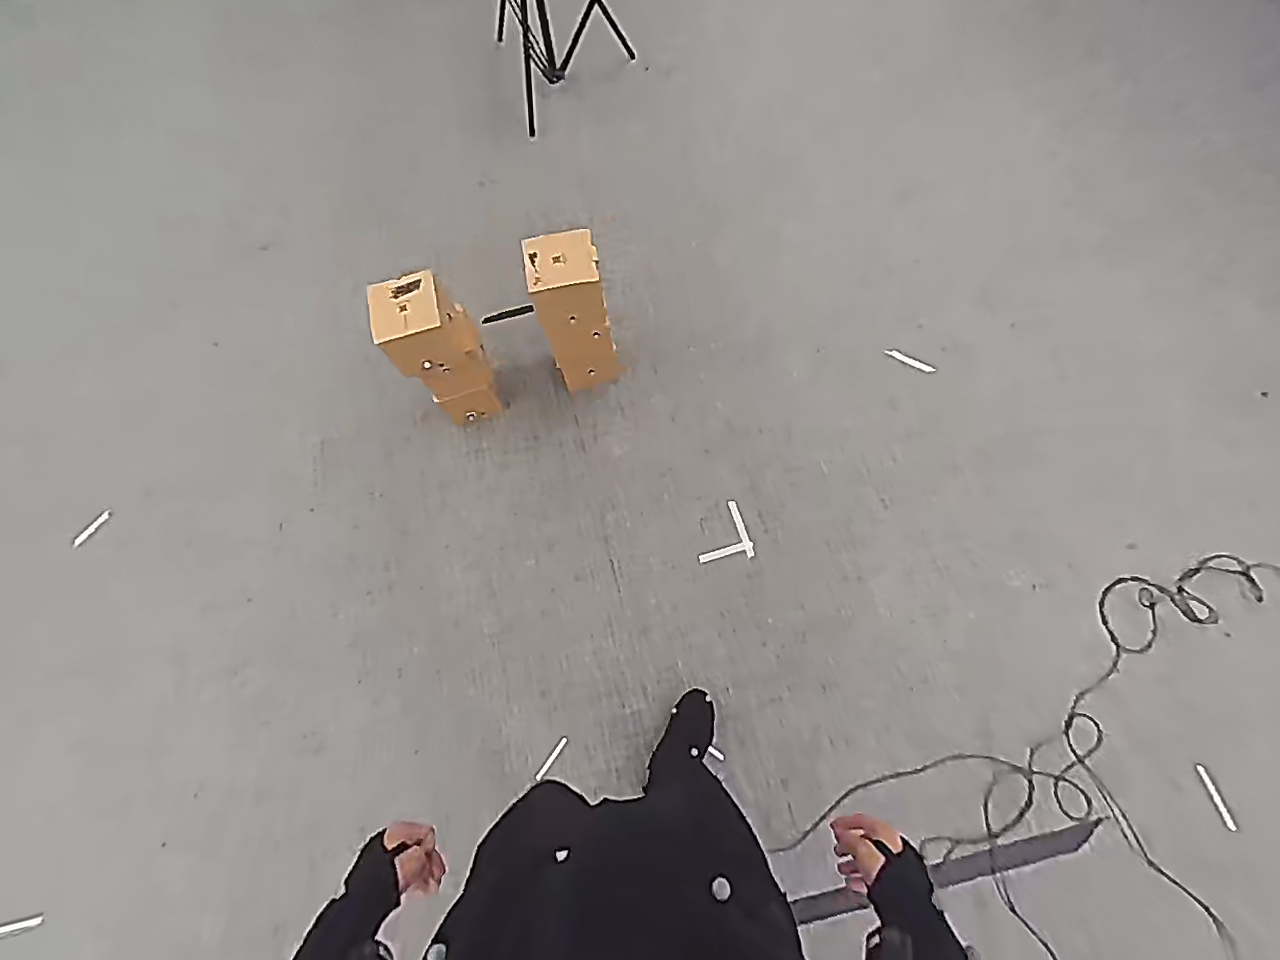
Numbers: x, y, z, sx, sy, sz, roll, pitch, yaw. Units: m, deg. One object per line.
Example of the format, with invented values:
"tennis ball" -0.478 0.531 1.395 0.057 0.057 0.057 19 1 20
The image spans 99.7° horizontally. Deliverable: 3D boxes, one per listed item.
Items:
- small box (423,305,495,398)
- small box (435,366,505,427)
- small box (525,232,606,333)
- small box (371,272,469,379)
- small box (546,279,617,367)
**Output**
"small box" -0.533 -0.355 1.529 0.179 0.176 0.168 -19 70 -3
"small box" -0.535 -0.294 1.682 0.168 0.176 0.179 -18 71 -3
"small box" -0.185 -0.500 1.388 0.179 0.176 0.168 -10 70 -2
"small box" -0.551 -0.384 1.366 0.168 0.176 0.179 -16 71 -1
"small box" -0.170 -0.441 1.540 0.179 0.176 0.168 -9 70 -1
